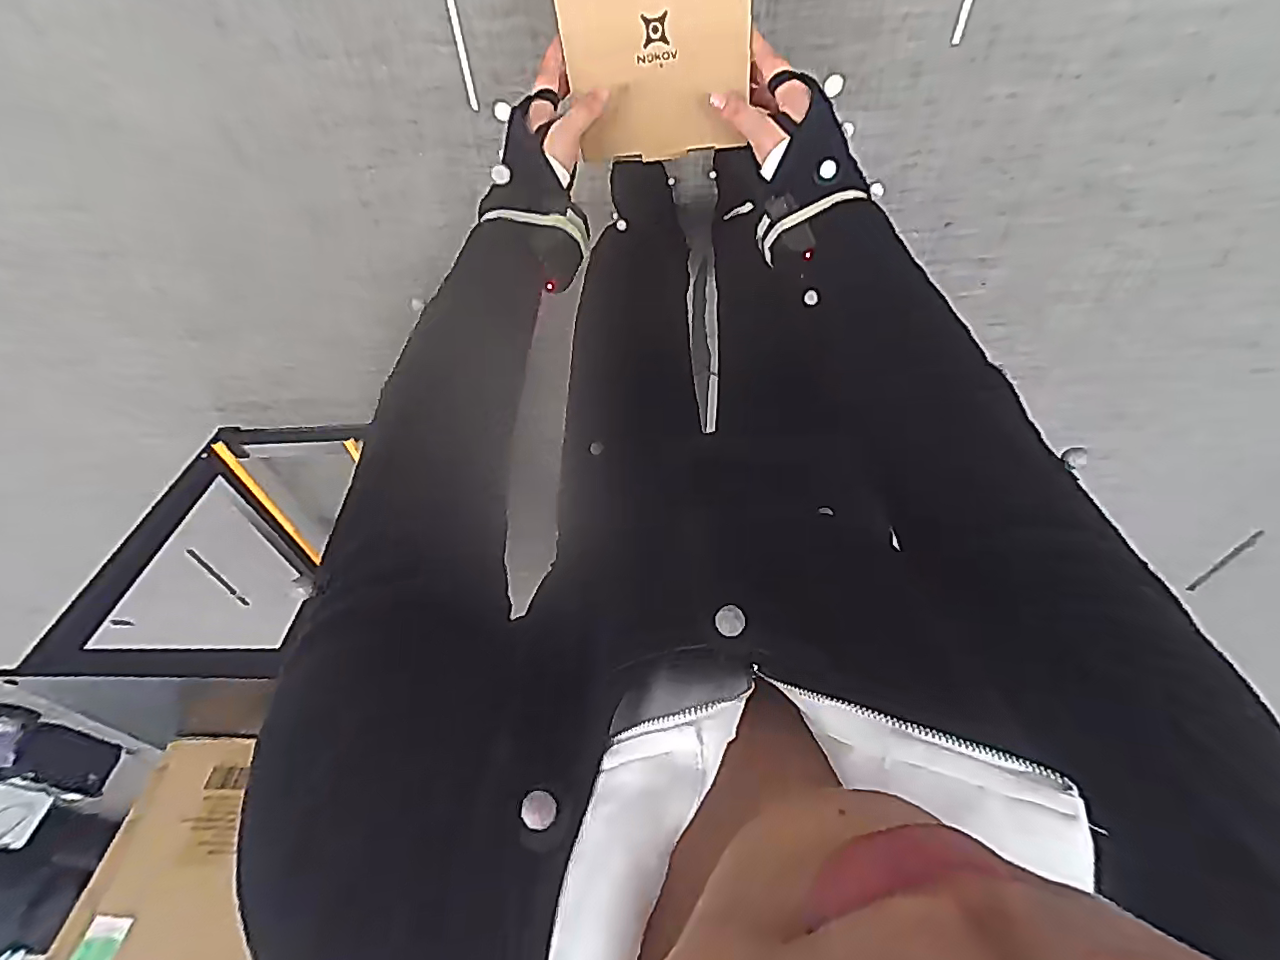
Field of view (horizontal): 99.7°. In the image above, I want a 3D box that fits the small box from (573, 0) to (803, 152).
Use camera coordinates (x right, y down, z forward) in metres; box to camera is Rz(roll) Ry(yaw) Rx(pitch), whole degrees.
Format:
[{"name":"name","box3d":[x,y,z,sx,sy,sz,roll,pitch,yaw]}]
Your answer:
[{"name":"small box","box3d":[0.041,-0.397,0.440,0.168,0.176,0.179,-2,136,9]}]
